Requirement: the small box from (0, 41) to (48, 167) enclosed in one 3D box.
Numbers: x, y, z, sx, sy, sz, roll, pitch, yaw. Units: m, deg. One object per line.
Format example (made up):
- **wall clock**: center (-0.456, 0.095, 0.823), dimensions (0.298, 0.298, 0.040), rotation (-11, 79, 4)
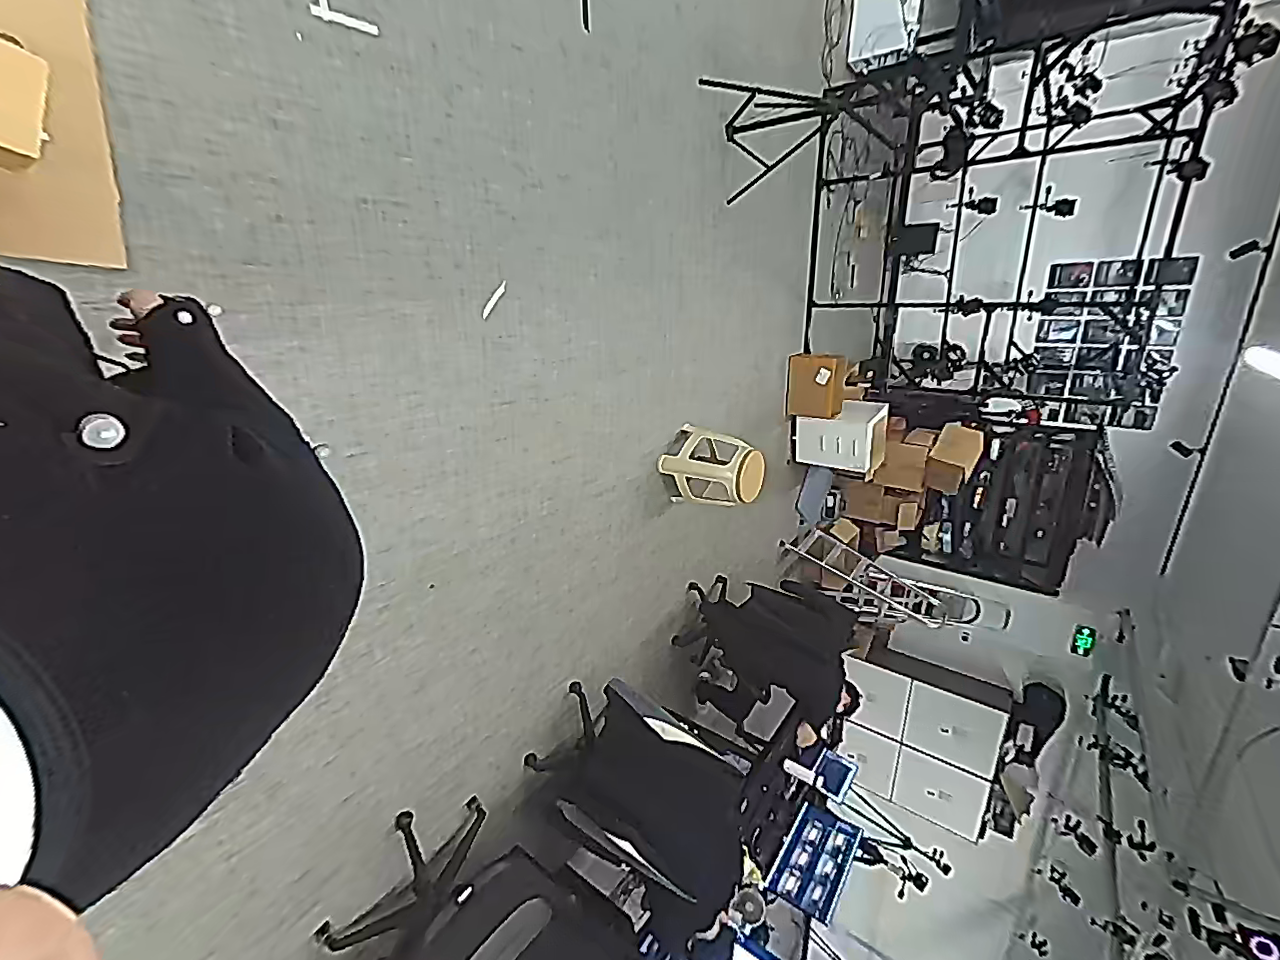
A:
- **small box**: center (-1.133, -0.648, 0.898), dimensions (0.179, 0.176, 0.168), rotation (5, 96, -53)
